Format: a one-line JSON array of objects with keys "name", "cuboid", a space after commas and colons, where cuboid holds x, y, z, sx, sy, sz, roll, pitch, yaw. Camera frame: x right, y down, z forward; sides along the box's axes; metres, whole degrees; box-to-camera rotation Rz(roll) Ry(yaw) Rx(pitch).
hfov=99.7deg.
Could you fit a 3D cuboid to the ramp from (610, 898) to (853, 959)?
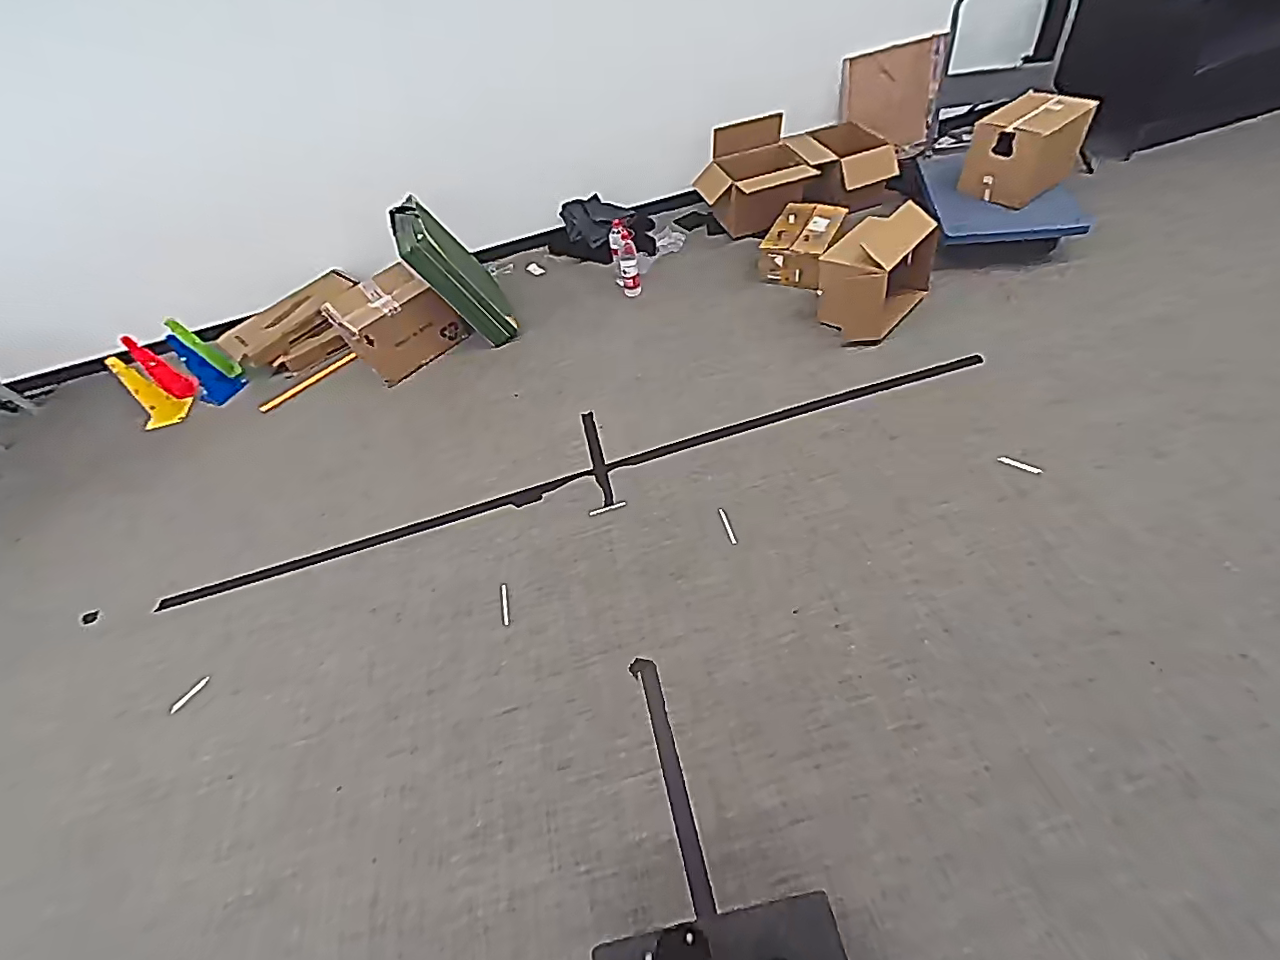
[{"name": "ramp", "cuboid": [0.271, 1.315, 0.837, 0.509, 0.206, 0.991, -16, 50, -3]}]
